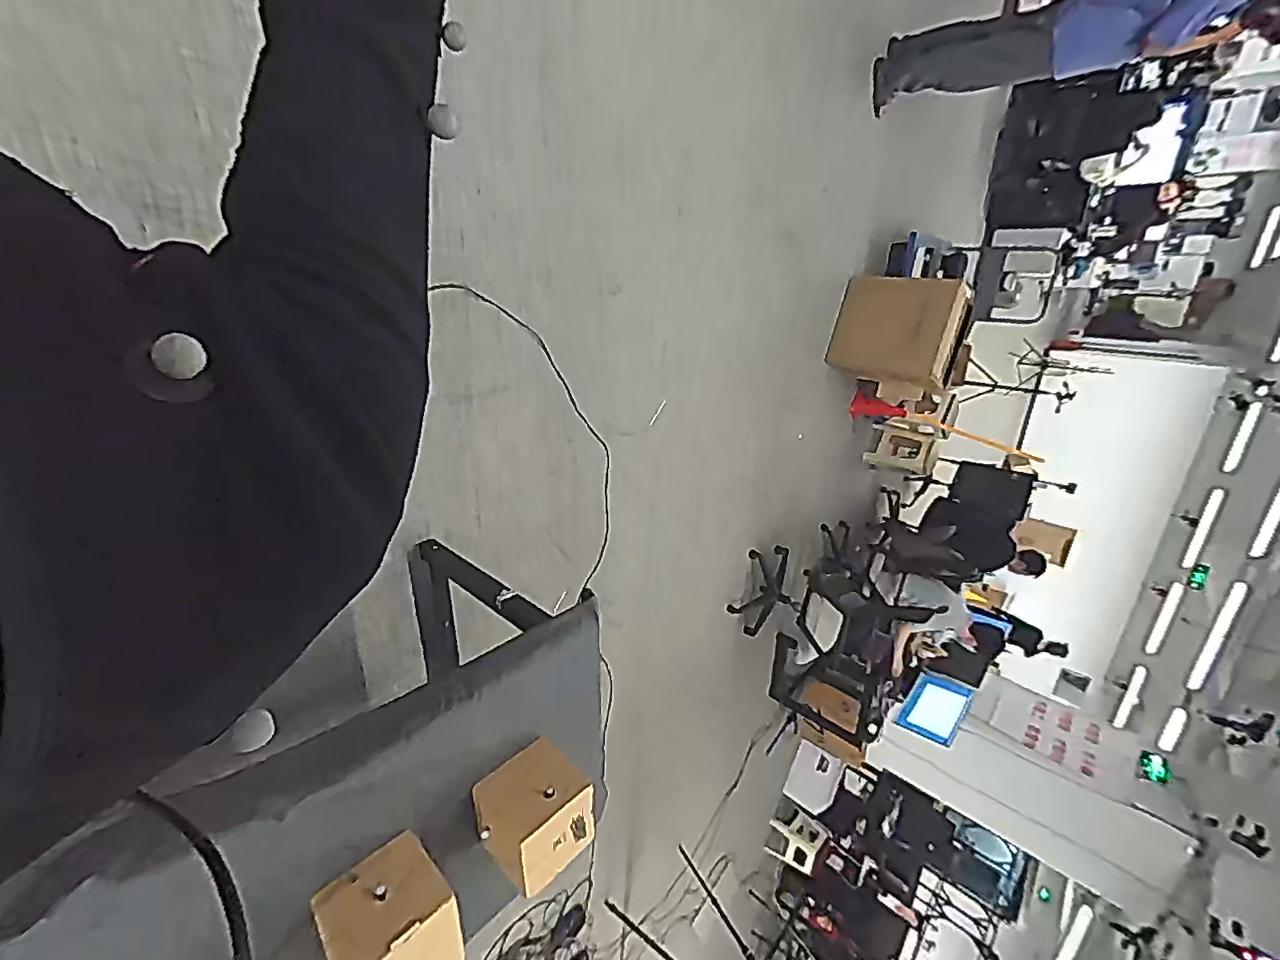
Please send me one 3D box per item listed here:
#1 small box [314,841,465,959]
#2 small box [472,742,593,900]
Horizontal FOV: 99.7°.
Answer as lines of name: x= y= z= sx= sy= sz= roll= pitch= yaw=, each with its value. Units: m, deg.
small box: x=-0.417 y=0.750 z=0.901 sx=0.168 sy=0.176 sz=0.179 roll=-20 pitch=119 yaw=-44
small box: x=-0.217 y=0.681 z=1.104 sx=0.179 sy=0.176 sz=0.168 roll=-22 pitch=121 yaw=-42
